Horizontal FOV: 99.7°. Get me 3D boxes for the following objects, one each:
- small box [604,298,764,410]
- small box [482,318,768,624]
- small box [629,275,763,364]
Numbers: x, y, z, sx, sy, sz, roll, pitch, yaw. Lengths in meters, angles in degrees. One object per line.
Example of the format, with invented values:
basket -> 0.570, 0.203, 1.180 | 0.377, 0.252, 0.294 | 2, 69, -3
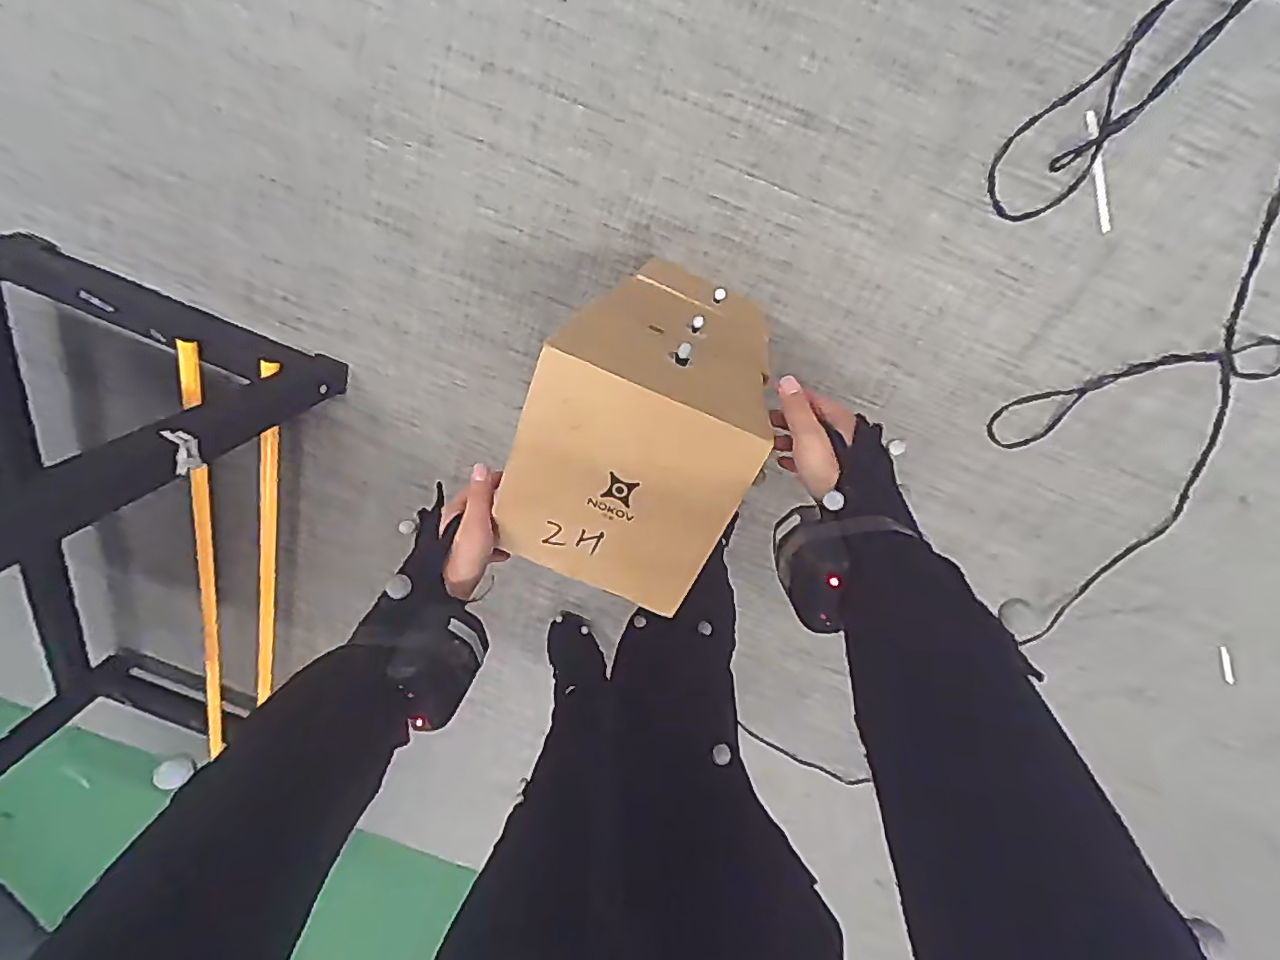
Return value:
small box -> 0.022, -0.090, 0.608 | 0.179, 0.176, 0.168 | 22, 118, -1
small box -> -0.010, -0.019, 0.463 | 0.168, 0.176, 0.179 | 23, 119, -3
small box -> 0.049, -0.167, 0.748 | 0.179, 0.176, 0.168 | 24, 118, -4
